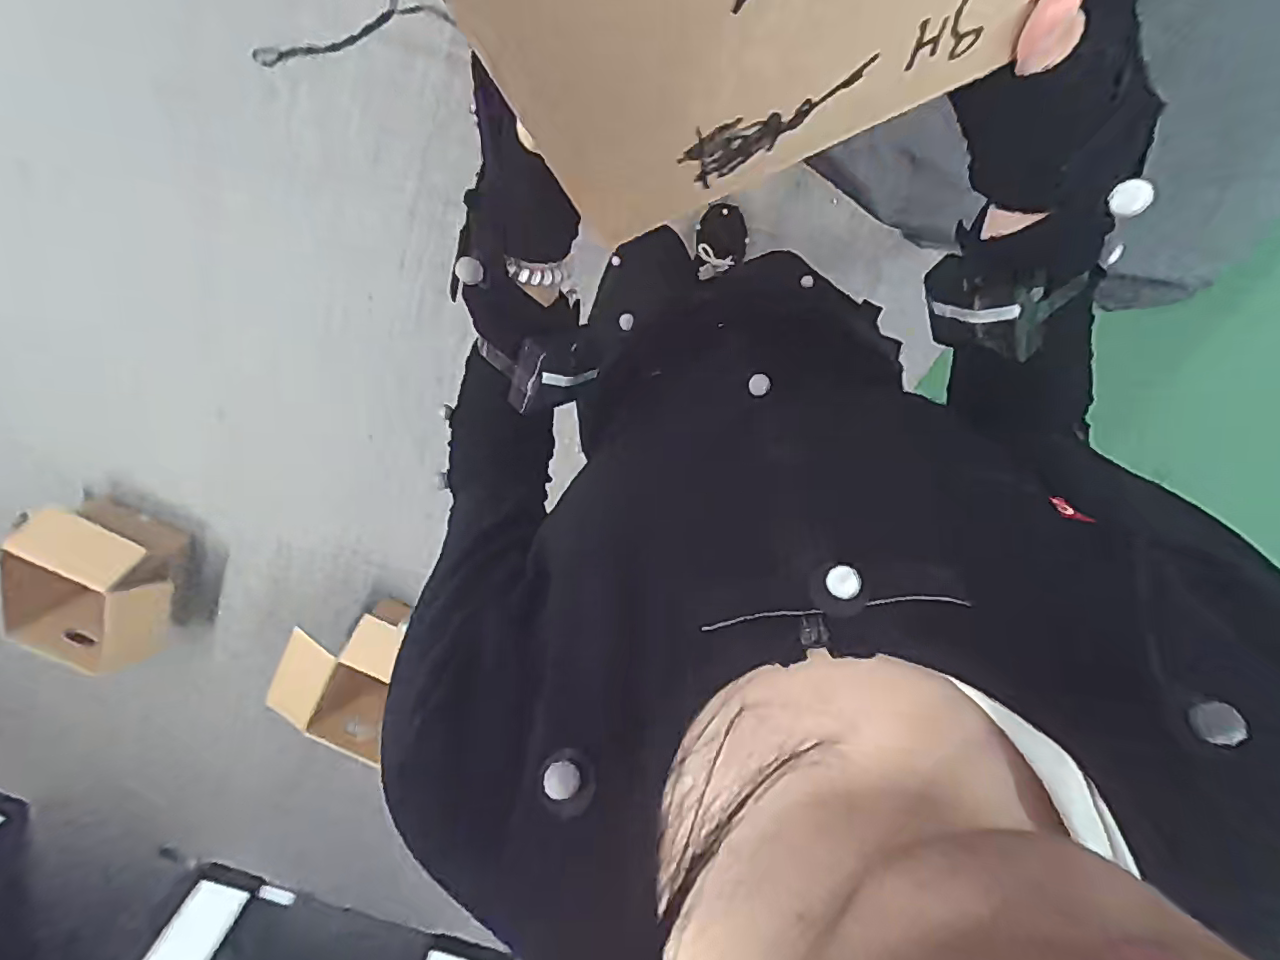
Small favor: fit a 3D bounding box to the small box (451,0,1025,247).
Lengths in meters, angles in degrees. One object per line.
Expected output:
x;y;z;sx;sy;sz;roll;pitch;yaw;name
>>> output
0.011;-0.220;0.163;0.168;0.179;0.176;-18;70;13;small box
